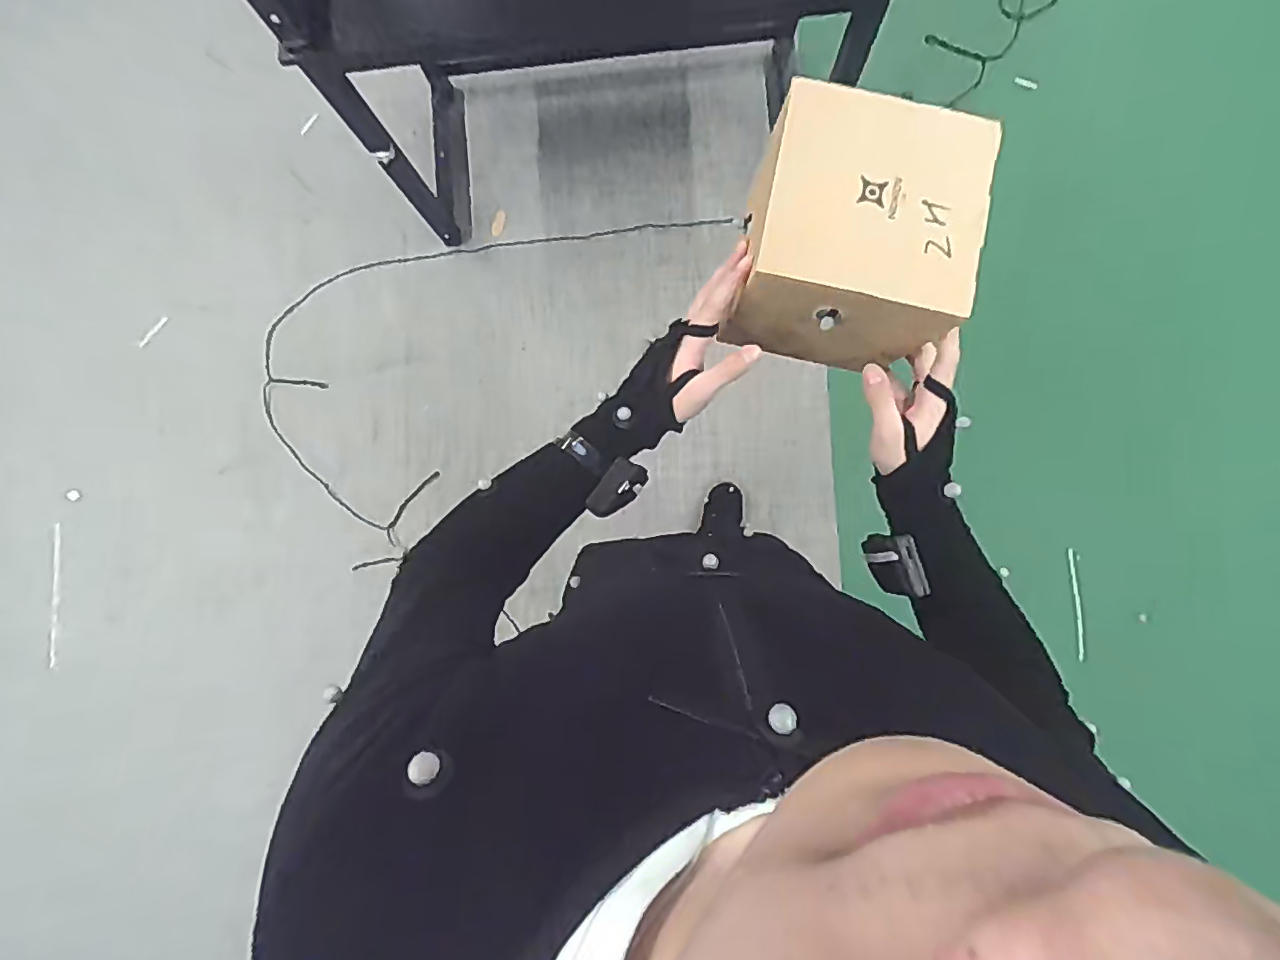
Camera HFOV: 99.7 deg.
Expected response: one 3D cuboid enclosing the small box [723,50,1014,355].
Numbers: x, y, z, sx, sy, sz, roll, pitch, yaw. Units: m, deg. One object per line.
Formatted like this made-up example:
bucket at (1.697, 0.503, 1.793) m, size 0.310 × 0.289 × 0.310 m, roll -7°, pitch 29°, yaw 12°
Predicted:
small box at (0.183, -0.226, 0.487) m, size 0.179 × 0.176 × 0.168 m, roll 12°, pitch 87°, yaw -1°
